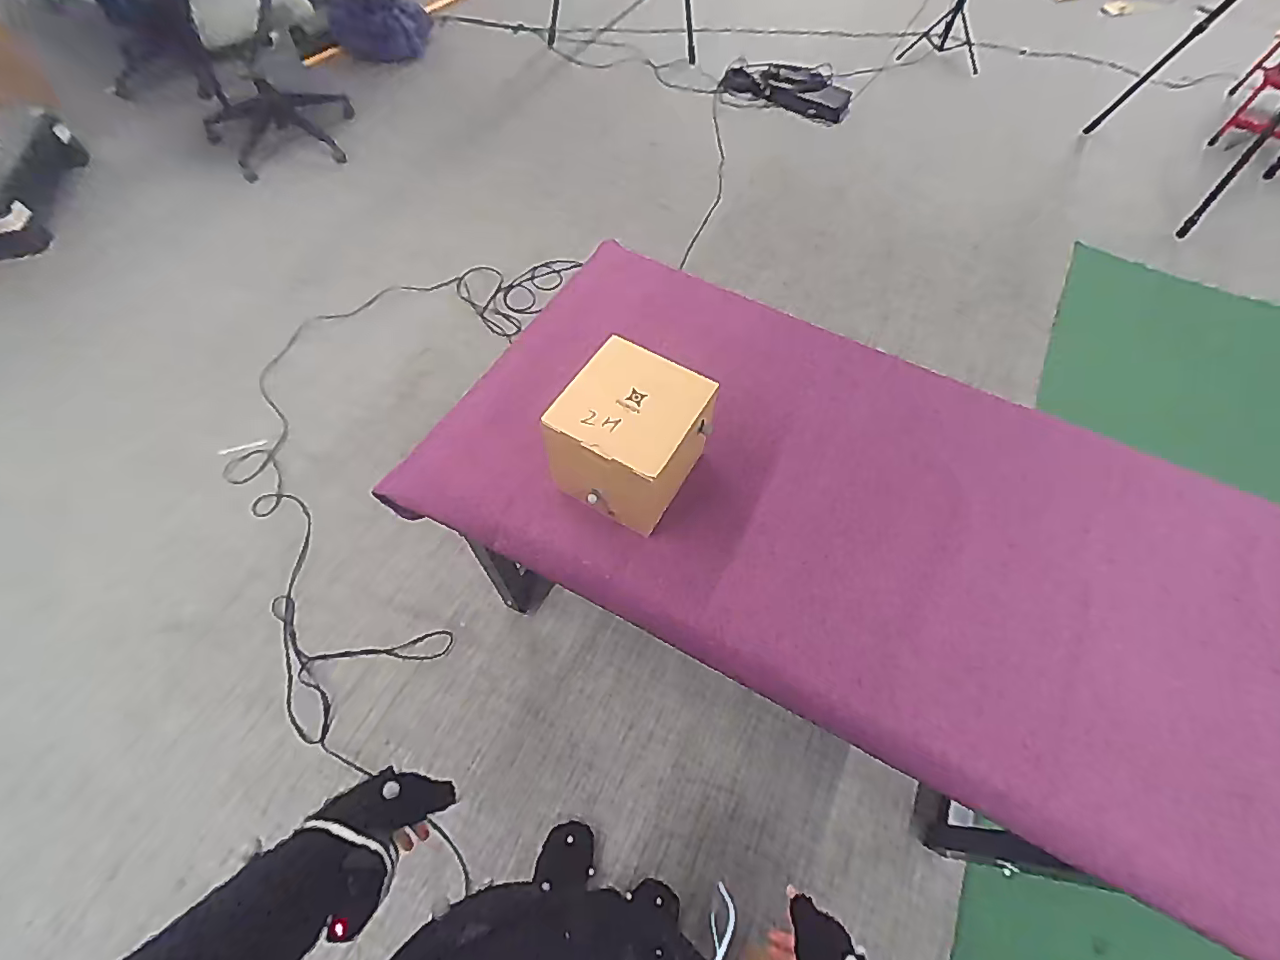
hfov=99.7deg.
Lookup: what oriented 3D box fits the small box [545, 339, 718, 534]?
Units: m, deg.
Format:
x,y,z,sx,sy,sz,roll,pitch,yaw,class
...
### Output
x,y,z,sx,sy,sz,roll,pitch,yaw,class
-0.014,-0.056,0.760,0.168,0.176,0.179,29,63,13,small box
